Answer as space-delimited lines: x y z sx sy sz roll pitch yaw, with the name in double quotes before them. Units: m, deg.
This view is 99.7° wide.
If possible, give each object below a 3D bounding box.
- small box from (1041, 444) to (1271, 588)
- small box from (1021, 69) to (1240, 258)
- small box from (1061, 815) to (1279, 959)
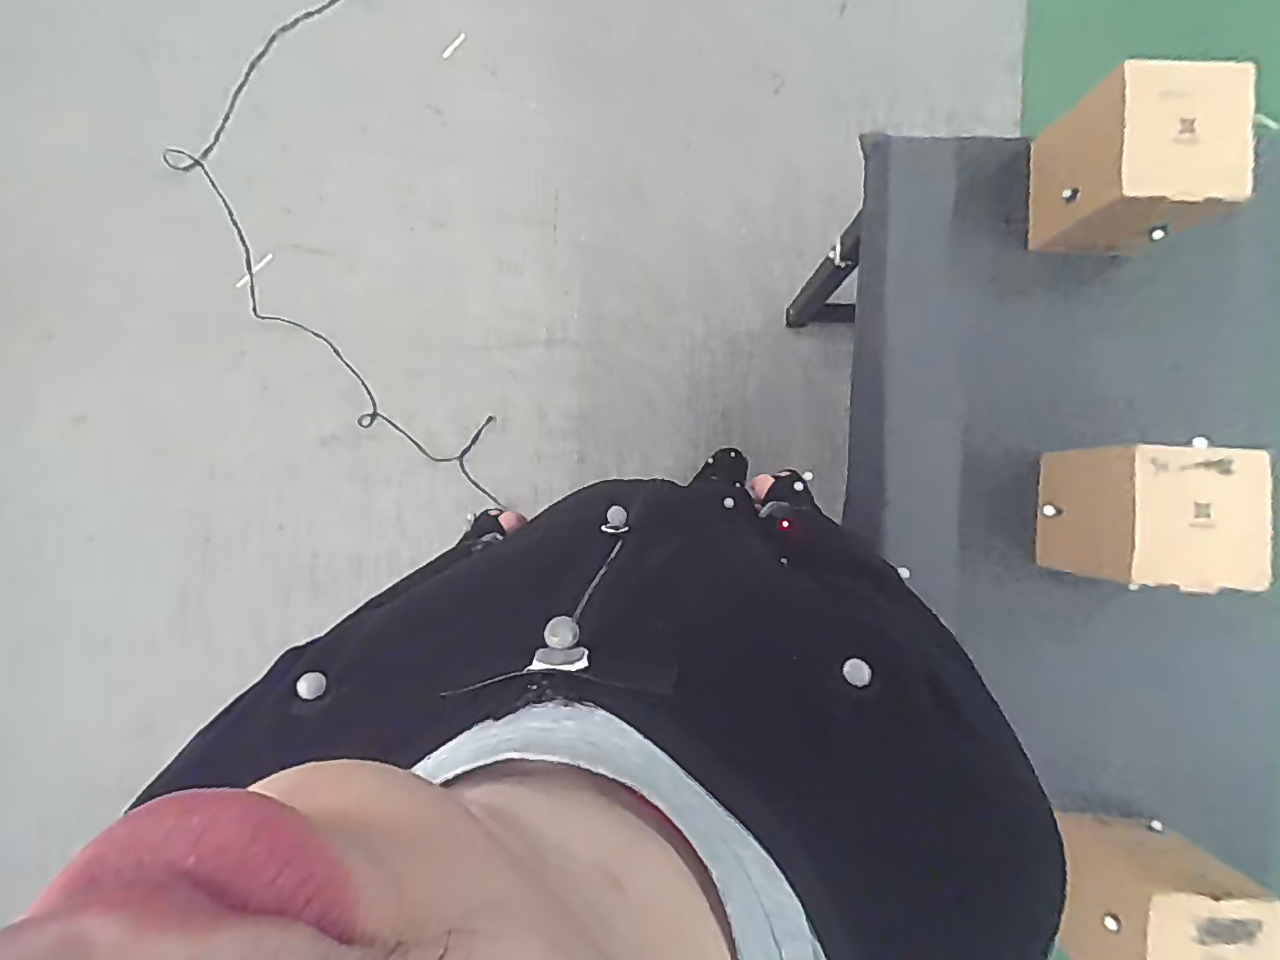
"small box" 0.698 0.046 0.751 0.168 0.176 0.179 2 88 -1
"small box" 0.680 -0.435 0.770 0.168 0.176 0.179 0 87 -3
"small box" 0.711 0.584 0.727 0.168 0.176 0.179 4 88 0
